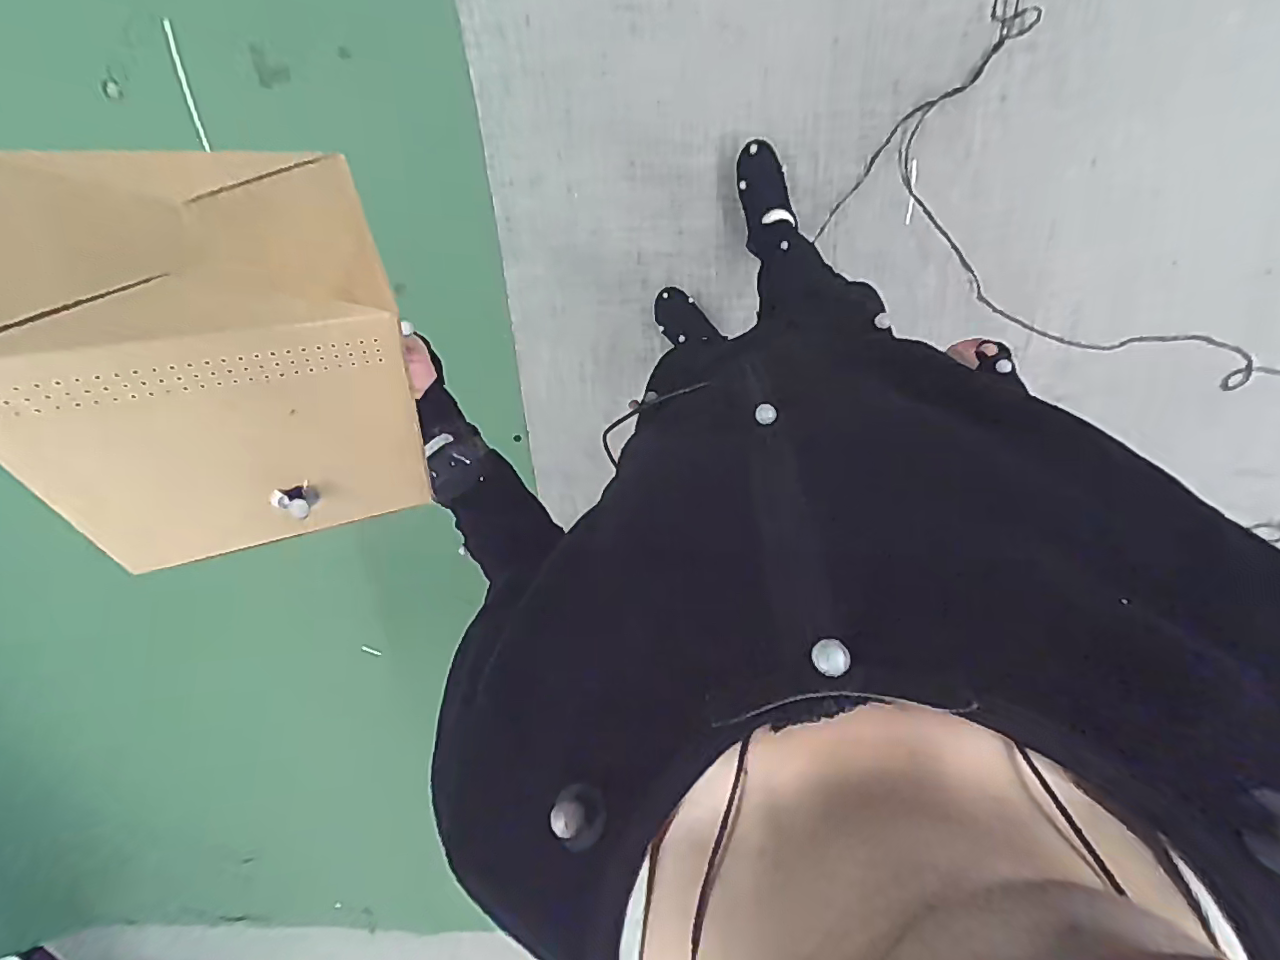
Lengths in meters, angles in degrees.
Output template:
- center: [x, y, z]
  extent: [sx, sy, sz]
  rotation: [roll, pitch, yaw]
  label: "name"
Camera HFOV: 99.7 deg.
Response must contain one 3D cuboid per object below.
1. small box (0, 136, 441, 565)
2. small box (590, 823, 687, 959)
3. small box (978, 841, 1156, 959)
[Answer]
- center: [-0.235, -0.080, 0.321]
  extent: [0.179, 0.168, 0.176]
  rotation: [-15, 149, -24]
  label: "small box"
- center: [0.003, 0.818, 1.069]
  extent: [0.168, 0.176, 0.179]
  rotation: [-7, 112, 4]
  label: "small box"
- center: [0.806, 0.836, 1.043]
  extent: [0.179, 0.176, 0.168]
  rotation: [10, 113, -1]
  label: "small box"
